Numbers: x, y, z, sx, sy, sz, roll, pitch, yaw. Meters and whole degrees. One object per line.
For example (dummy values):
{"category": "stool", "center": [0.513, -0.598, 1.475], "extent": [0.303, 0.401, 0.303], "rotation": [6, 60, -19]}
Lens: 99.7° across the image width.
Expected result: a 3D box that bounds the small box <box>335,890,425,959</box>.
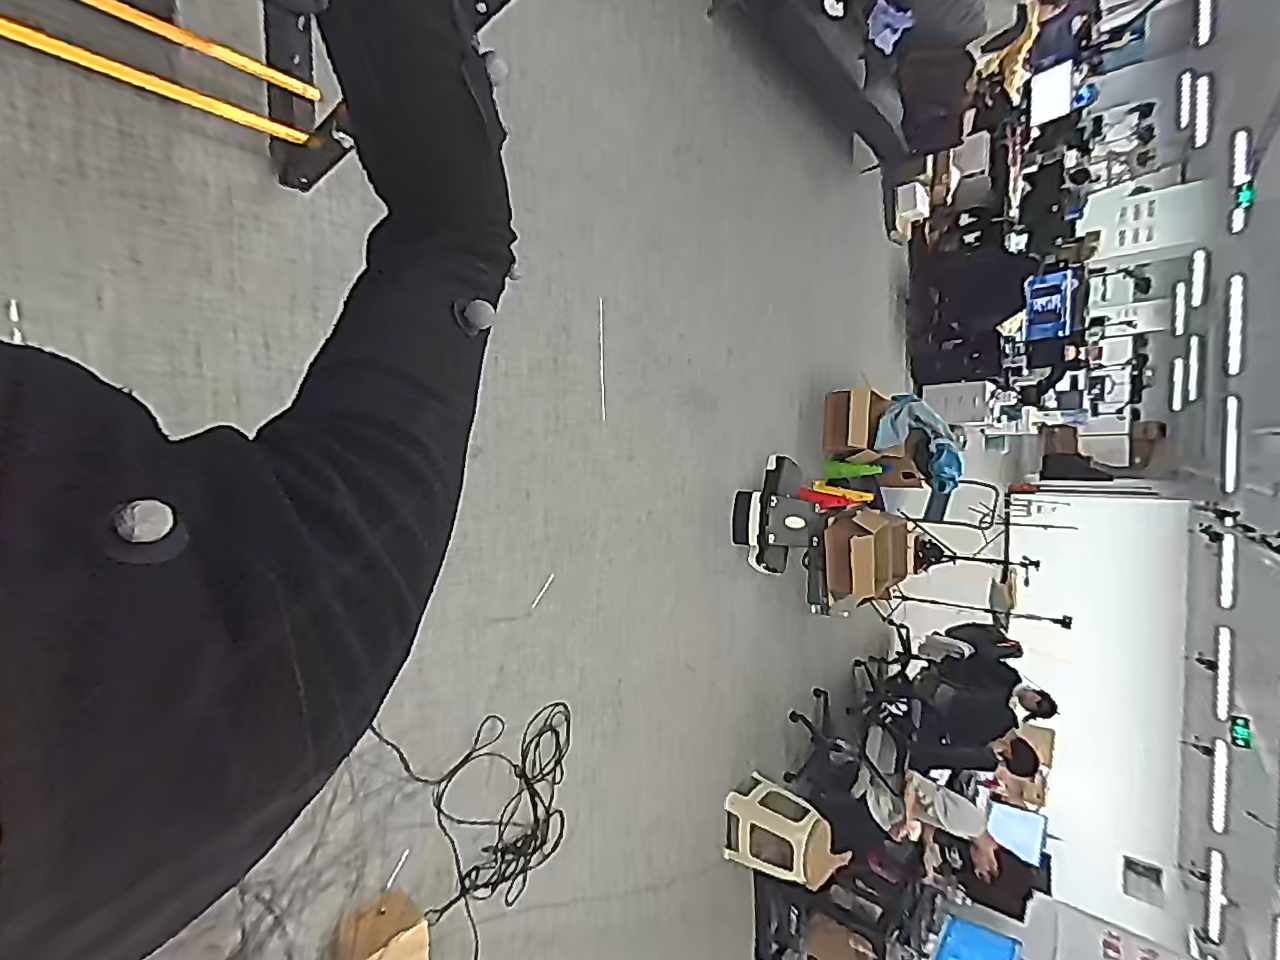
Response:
{"category": "small box", "center": [-0.693, 1.255, 1.439], "extent": [0.168, 0.176, 0.179], "rotation": [-5, 94, -50]}
